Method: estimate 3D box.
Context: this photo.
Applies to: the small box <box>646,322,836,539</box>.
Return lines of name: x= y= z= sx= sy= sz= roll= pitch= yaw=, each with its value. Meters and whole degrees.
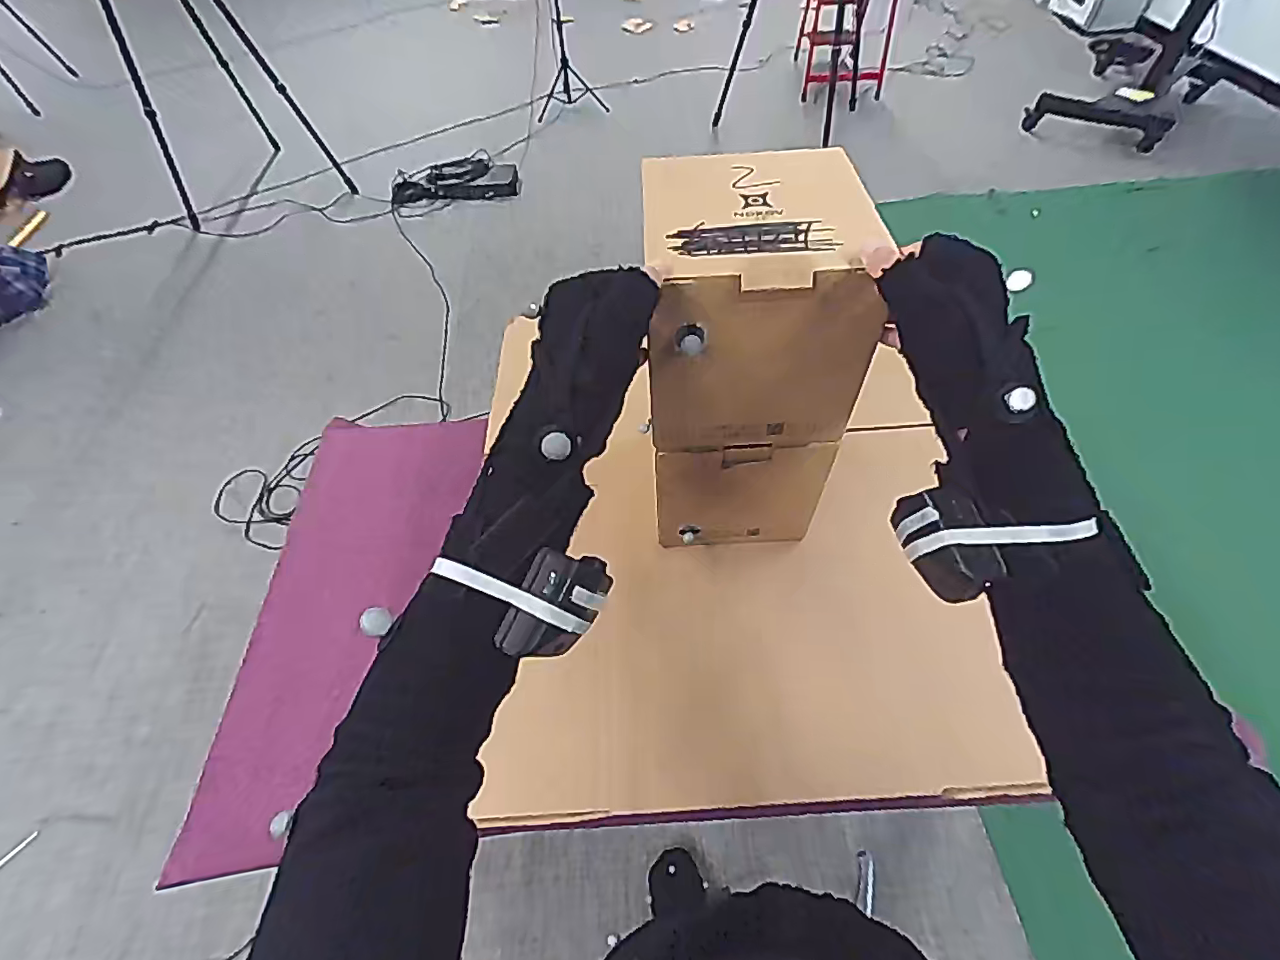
small box: x=0.096 y=-0.045 z=0.589 sx=0.168 sy=0.176 sz=0.179 roll=-4 pitch=53 yaw=1
